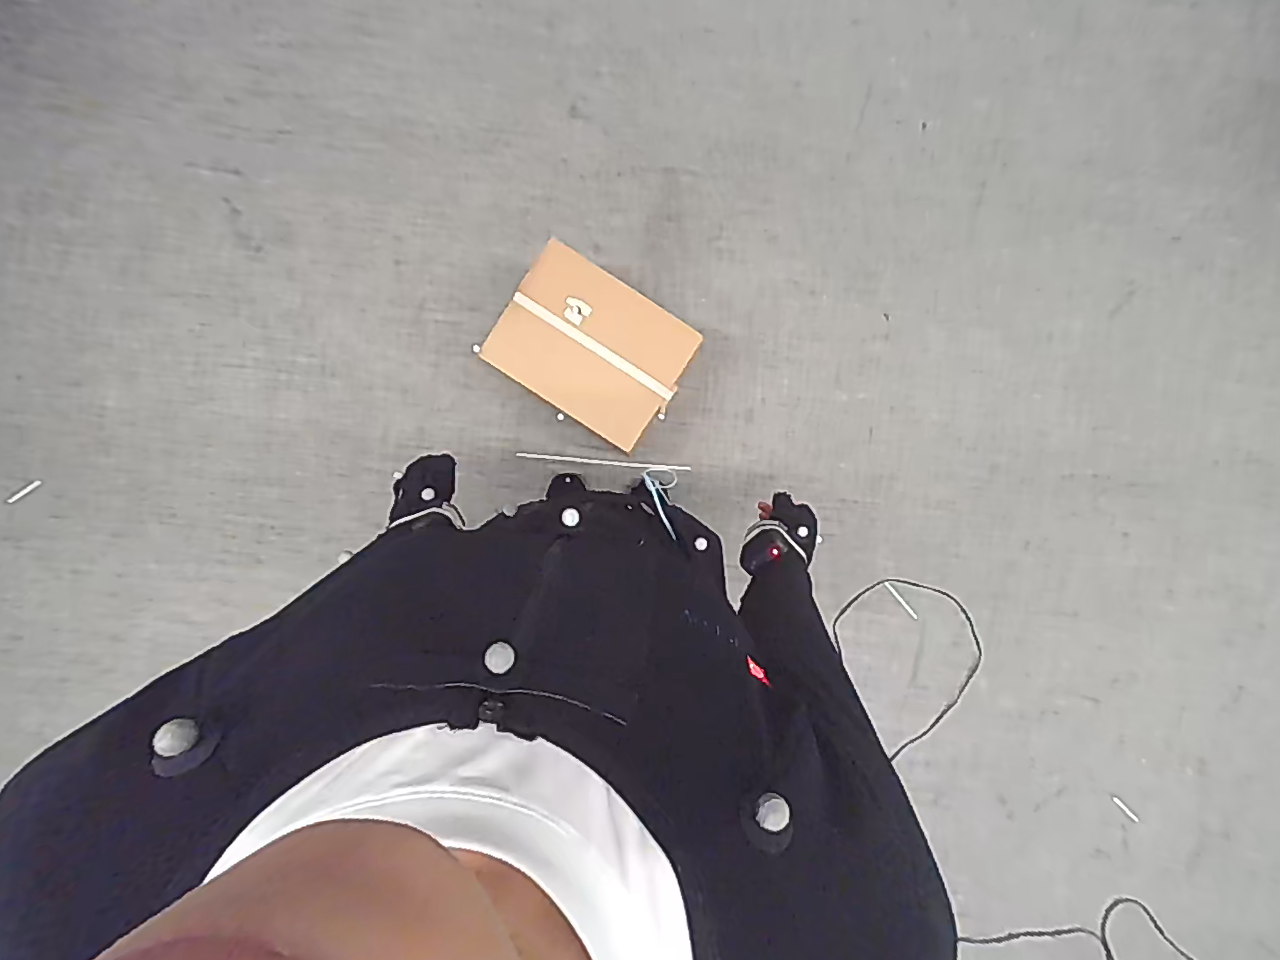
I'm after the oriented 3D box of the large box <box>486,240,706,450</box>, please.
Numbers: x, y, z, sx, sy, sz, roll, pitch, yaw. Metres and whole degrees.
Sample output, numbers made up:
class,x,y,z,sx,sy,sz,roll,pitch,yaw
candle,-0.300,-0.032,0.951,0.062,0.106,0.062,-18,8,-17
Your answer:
class,x,y,z,sx,sy,sz,roll,pitch,yaw
large box,-0.095,-0.305,1.347,0.408,0.320,0.320,33,90,0
